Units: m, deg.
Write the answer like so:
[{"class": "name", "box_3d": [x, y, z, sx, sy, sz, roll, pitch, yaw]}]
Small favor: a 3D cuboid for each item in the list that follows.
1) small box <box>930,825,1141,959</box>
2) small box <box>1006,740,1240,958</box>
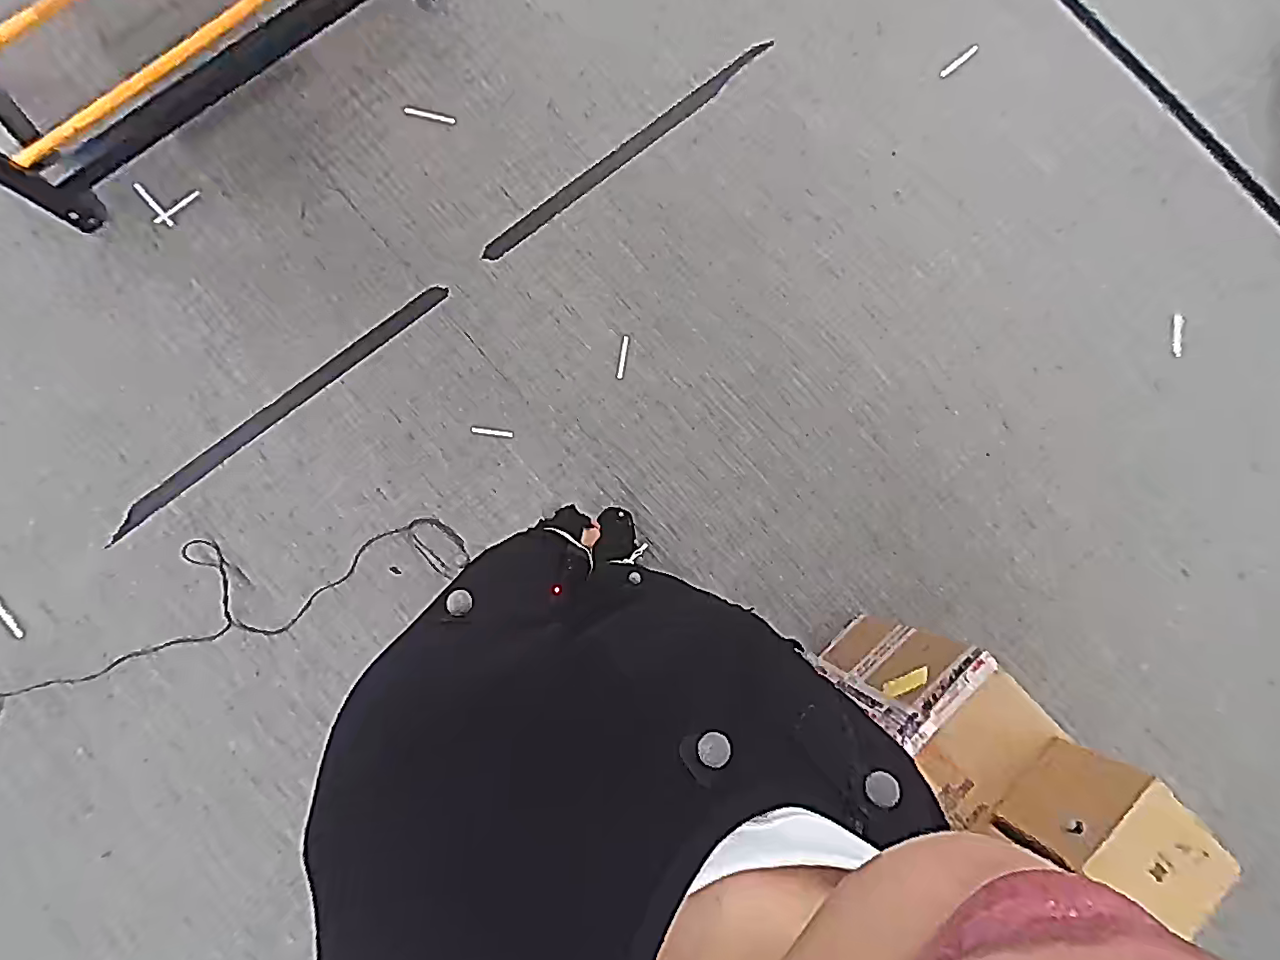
[{"class": "small box", "box_3d": [0.566, 0.666, 0.794, 0.179, 0.176, 0.168, -42, 86, -6]}, {"class": "small box", "box_3d": [0.704, 0.536, 0.815, 0.179, 0.176, 0.168, -41, 86, -9]}]
